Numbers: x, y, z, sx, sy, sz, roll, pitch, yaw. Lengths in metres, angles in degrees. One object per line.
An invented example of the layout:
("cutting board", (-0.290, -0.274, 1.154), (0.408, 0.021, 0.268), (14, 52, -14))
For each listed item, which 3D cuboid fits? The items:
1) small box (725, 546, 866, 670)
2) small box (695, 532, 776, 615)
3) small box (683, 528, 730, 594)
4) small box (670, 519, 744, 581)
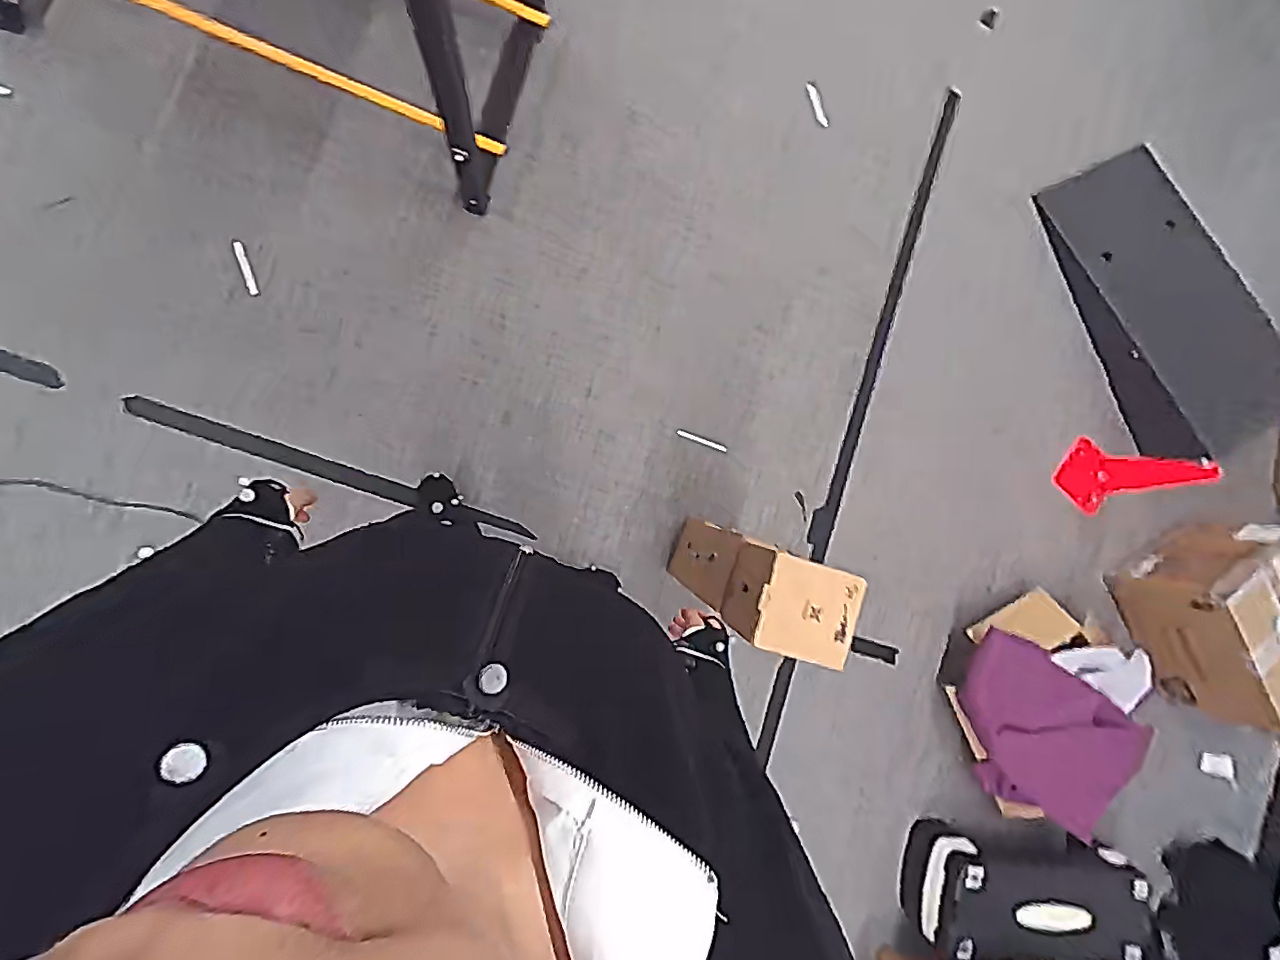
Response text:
("small box", (0.277, 0.225, 1.001), (0.179, 0.176, 0.168), (19, 86, -9))
("small box", (0.242, 0.218, 1.161), (0.179, 0.176, 0.168), (22, 85, -8))
("small box", (0.227, 0.222, 1.324), (0.179, 0.176, 0.168), (23, 86, -9))
("small box", (0.197, 0.214, 1.486), (0.168, 0.176, 0.179), (23, 86, -9))
